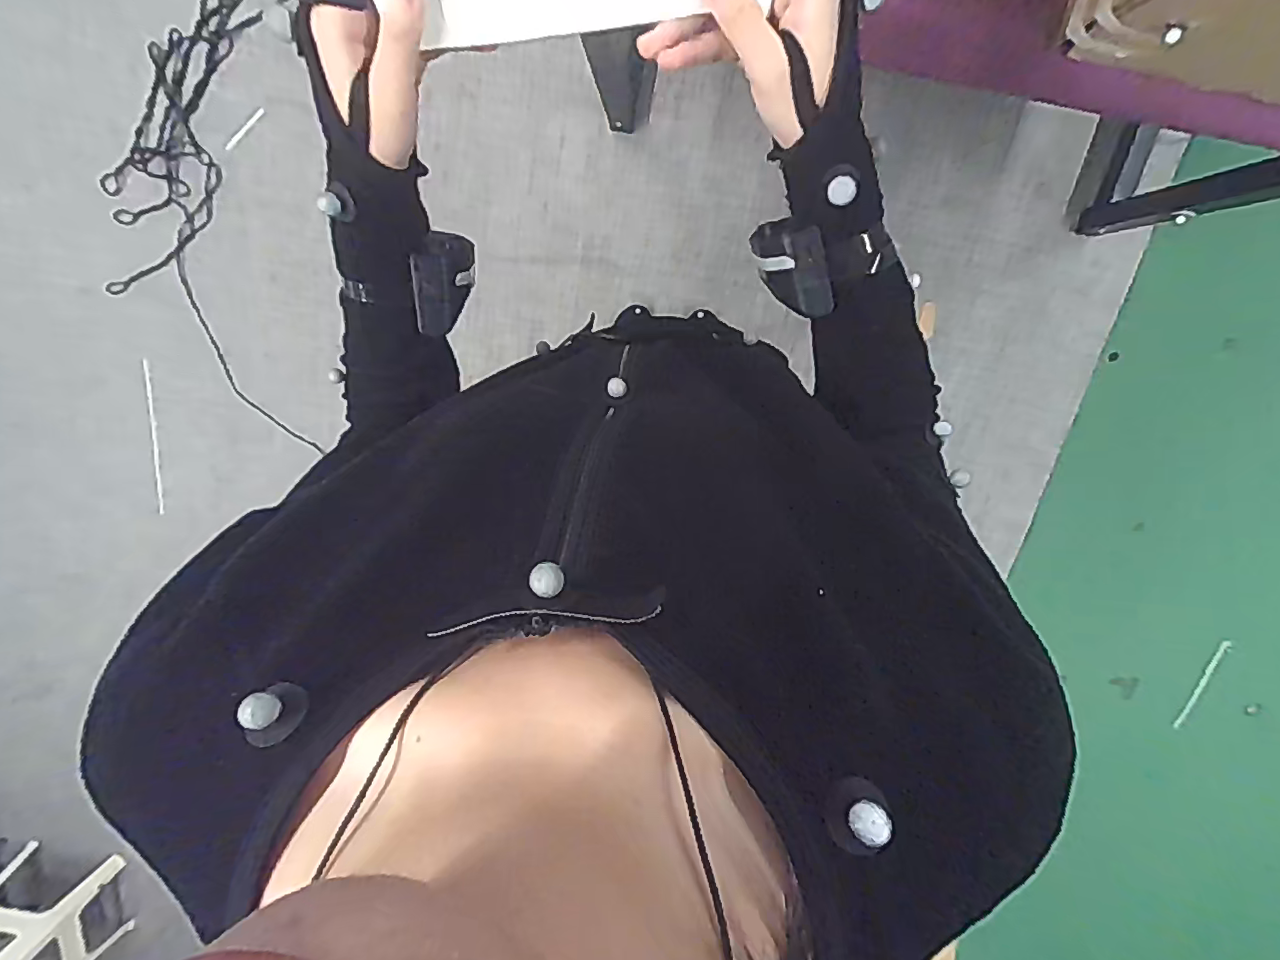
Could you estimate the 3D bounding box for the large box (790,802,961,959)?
[{"bbox_3d":[0.699,1.246,1.671,0.408,0.320,0.320,-3,106,3],"label":"large box"}]
